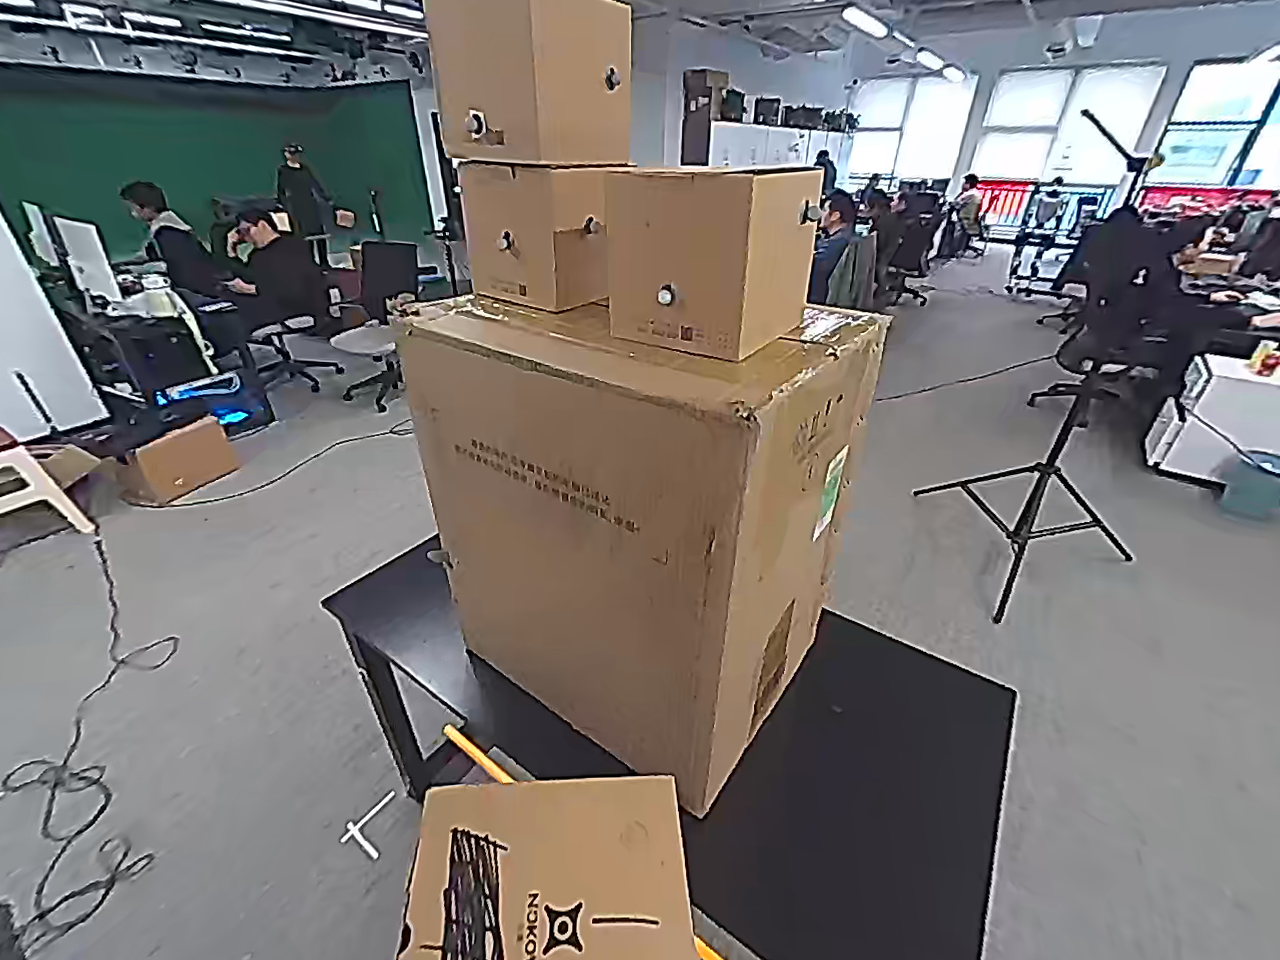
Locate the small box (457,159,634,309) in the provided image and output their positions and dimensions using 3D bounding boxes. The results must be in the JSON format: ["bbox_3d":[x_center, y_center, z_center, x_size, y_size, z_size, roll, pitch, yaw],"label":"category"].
[{"bbox_3d":[-0.120,-0.346,0.750,0.168,0.176,0.179,21,37,28],"label":"small box"}]

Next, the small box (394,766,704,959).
[{"bbox_3d":[-0.057,0.319,0.369,0.179,0.176,0.168,1,39,-7],"label":"small box"}]

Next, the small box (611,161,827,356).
[{"bbox_3d":[0.083,-0.249,0.592,0.168,0.176,0.179,19,36,31],"label":"small box"}]

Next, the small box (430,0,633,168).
[{"bbox_3d":[-0.125,-0.480,0.655,0.168,0.176,0.179,19,36,28],"label":"small box"}]
